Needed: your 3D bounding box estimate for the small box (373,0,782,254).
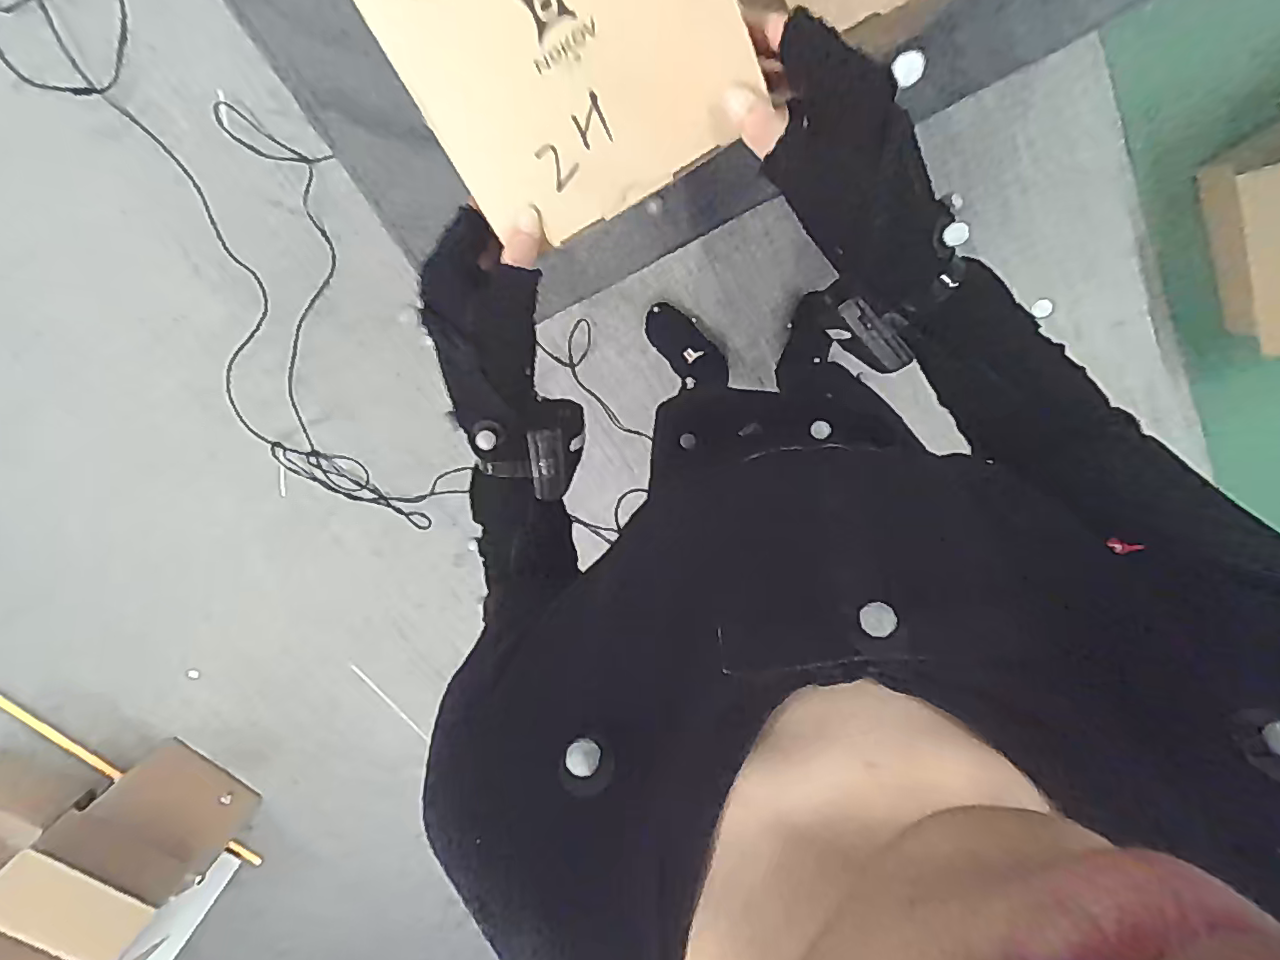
[{"bbox_3d":[-0.032,-0.268,0.331,0.168,0.176,0.179,-23,117,18],"label":"small box"}]
